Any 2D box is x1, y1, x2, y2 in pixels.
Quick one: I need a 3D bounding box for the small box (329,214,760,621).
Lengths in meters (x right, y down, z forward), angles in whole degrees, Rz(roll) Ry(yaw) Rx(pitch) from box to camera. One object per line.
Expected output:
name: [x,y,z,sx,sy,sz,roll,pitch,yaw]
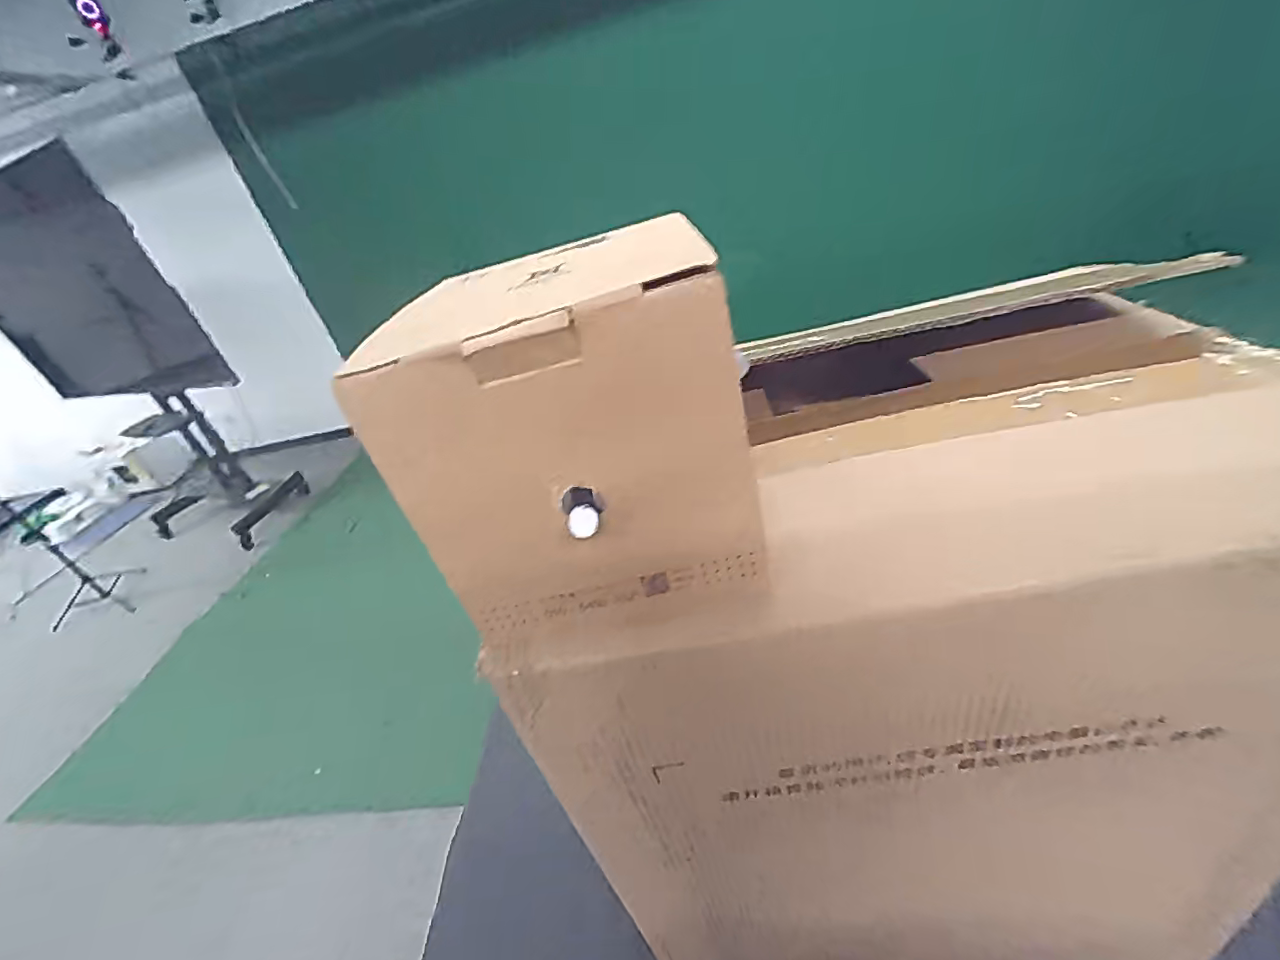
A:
small box: [-0.033,-0.035,0.325,0.168,0.176,0.179,-13,33,7]
